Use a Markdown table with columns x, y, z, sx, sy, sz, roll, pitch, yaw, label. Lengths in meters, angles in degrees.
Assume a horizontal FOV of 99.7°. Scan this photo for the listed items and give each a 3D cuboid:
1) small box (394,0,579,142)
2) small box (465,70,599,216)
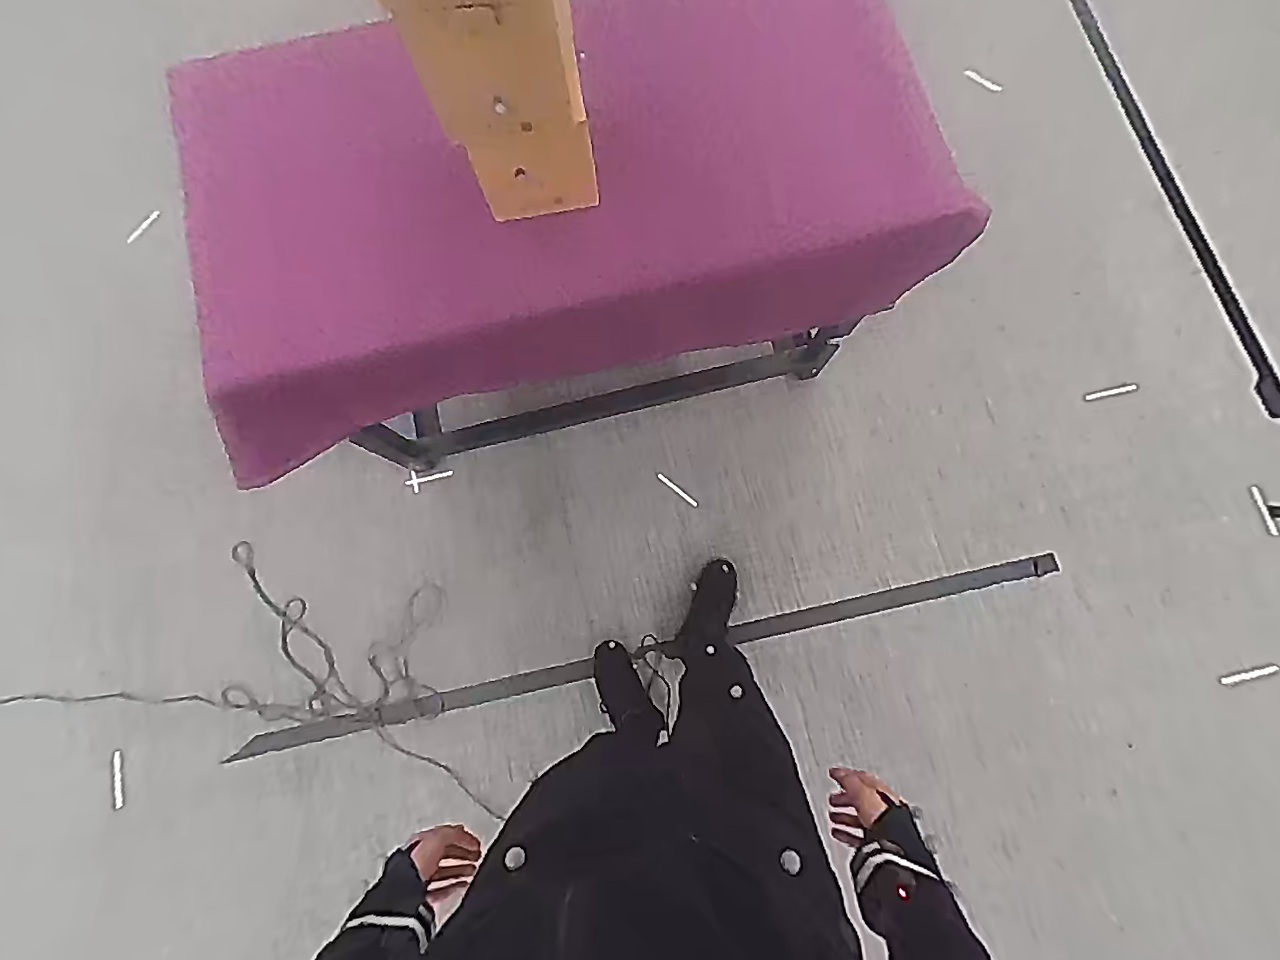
| x | y | z | sx | sy | sz | roll | pitch | yaw | label |
| --- | --- | --- | --- | --- | --- | --- | --- | --- | --- |
| -0.165 | -0.537 | 0.633 | 0.168 | 0.176 | 0.179 | -3 | 79 | 1 | small box |
| -0.158 | -0.517 | 0.797 | 0.168 | 0.176 | 0.179 | -10 | 78 | 0 | small box |
